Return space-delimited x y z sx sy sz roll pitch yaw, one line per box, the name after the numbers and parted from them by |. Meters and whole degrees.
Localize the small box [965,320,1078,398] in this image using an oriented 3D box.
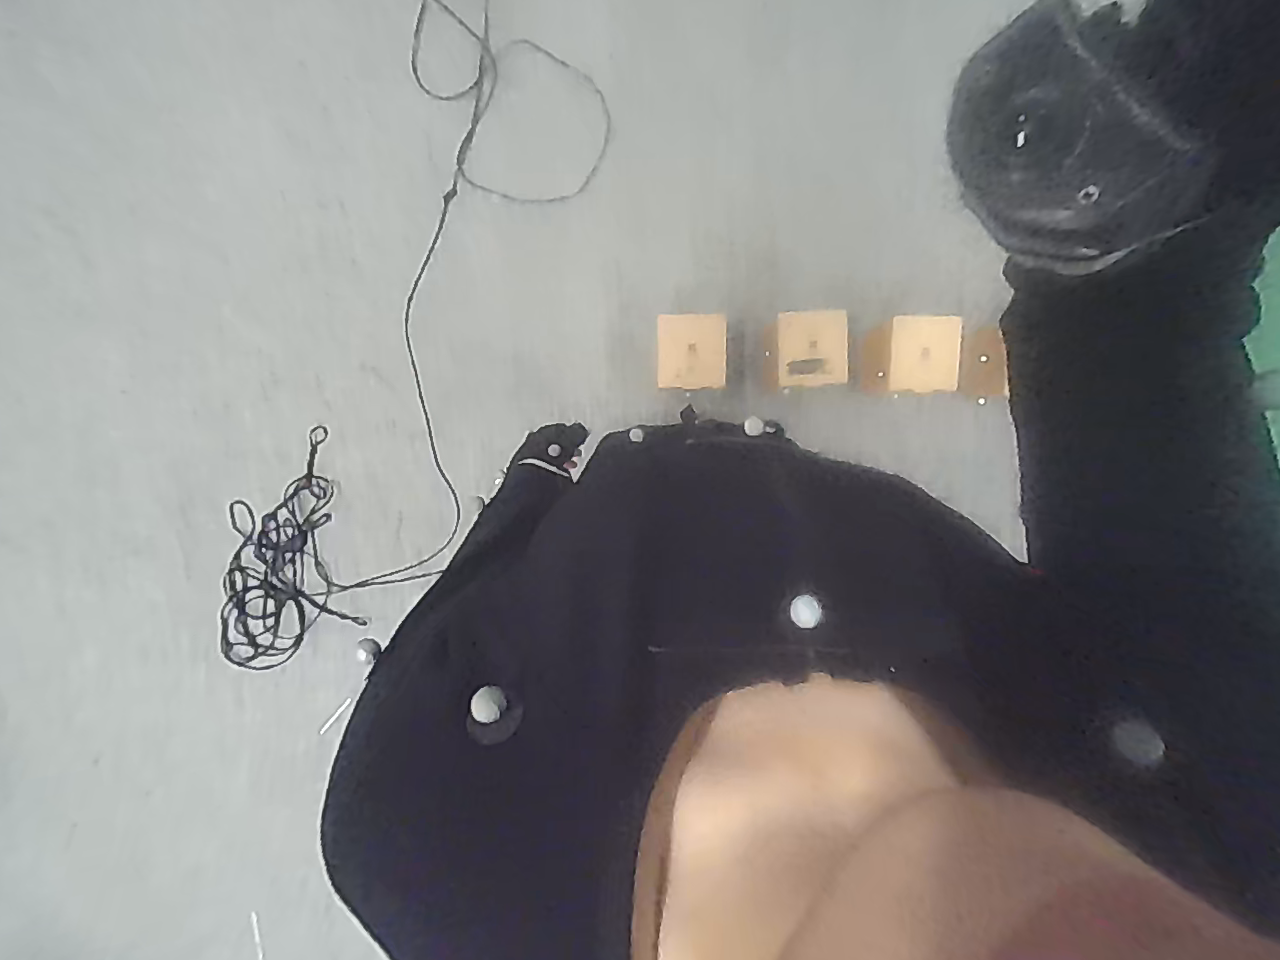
0.941 -0.297 1.350 0.168 0.176 0.179 0 96 1 | small box

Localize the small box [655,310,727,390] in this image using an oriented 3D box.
0.123 -0.320 1.357 0.168 0.176 0.179 0 96 2 | small box

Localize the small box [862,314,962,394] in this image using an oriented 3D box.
0.672 -0.310 1.353 0.168 0.176 0.179 1 97 0 | small box
